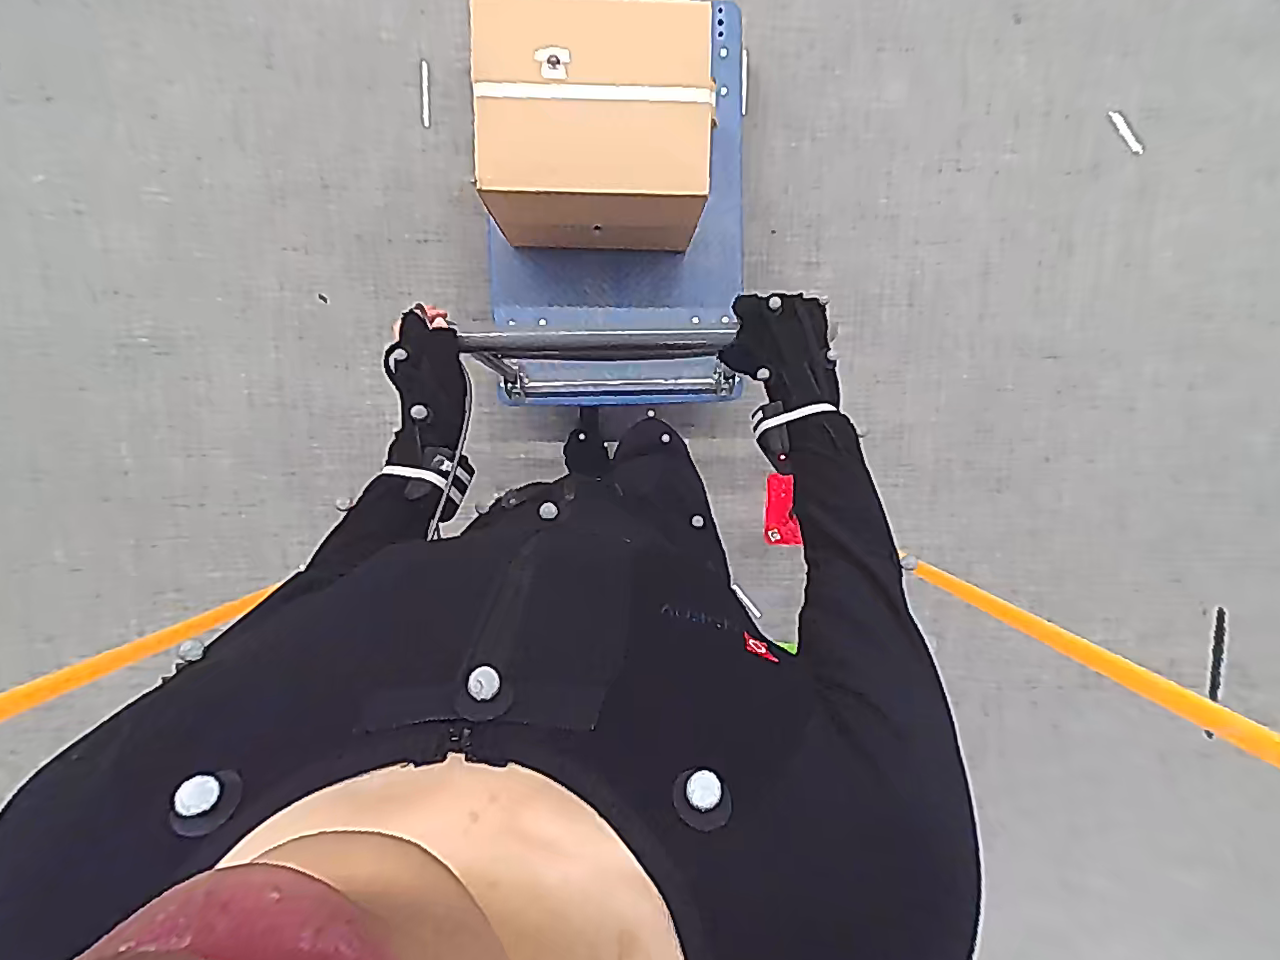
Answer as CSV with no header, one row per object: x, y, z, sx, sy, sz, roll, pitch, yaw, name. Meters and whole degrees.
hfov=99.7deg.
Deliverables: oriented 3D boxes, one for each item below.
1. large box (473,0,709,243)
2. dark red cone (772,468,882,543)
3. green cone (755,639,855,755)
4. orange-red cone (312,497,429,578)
-0.081,-0.672,1.068,0.408,0.320,0.320,0,96,-1,large box
0.462,0.087,1.291,0.201,0.394,0.202,0,96,-3,dark red cone
0.438,0.568,1.358,0.202,0.368,0.200,4,96,-3,green cone
-0.669,0.167,1.290,0.198,0.360,0.199,8,94,-3,orange-red cone
